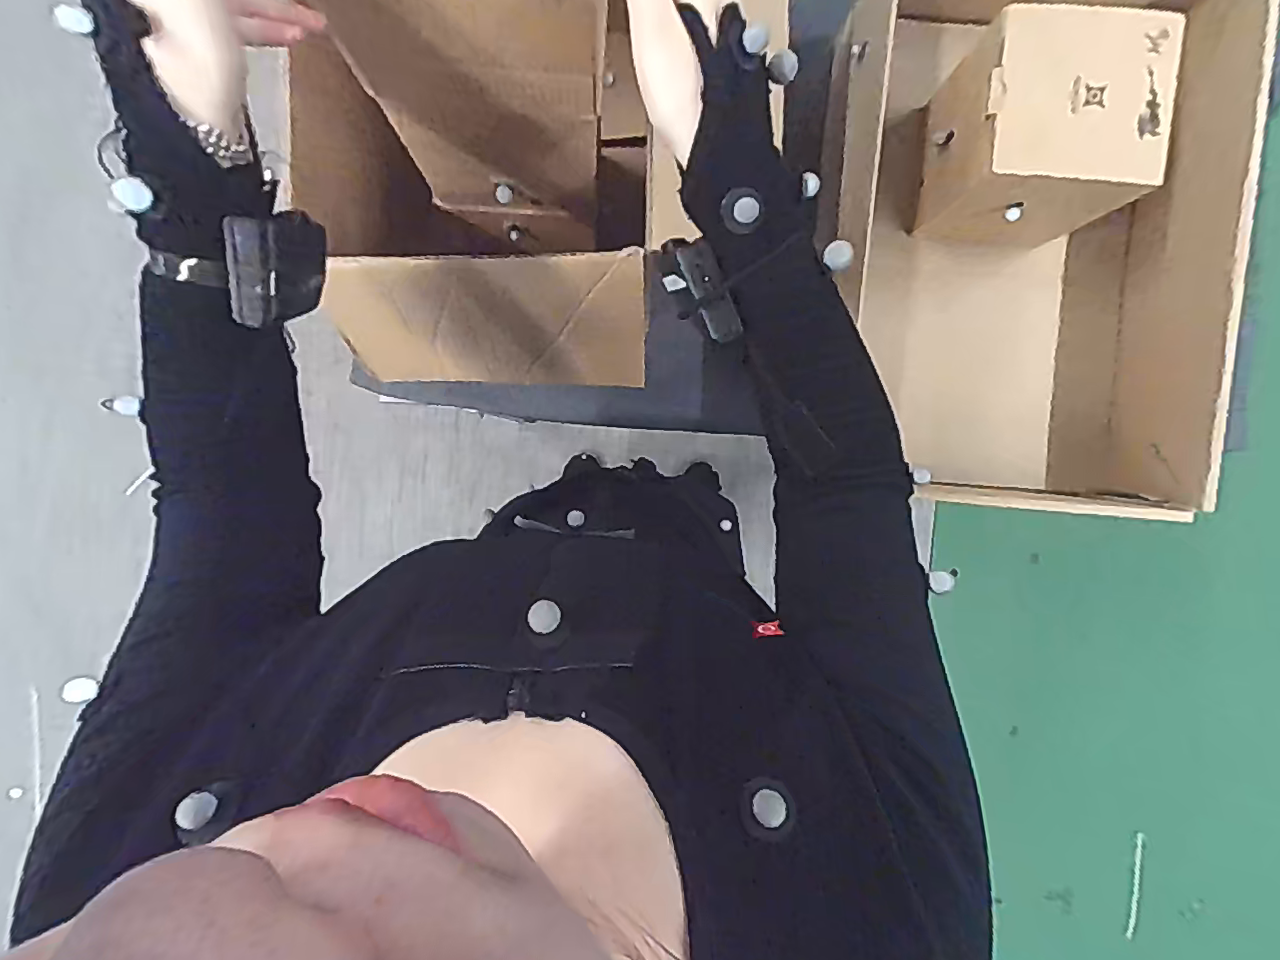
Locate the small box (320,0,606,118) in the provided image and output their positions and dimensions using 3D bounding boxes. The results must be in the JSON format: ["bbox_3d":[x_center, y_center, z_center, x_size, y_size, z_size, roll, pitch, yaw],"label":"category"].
[{"bbox_3d":[-0.109,-0.362,0.334,0.179,0.176,0.168,3,92,-5],"label":"small box"}]
